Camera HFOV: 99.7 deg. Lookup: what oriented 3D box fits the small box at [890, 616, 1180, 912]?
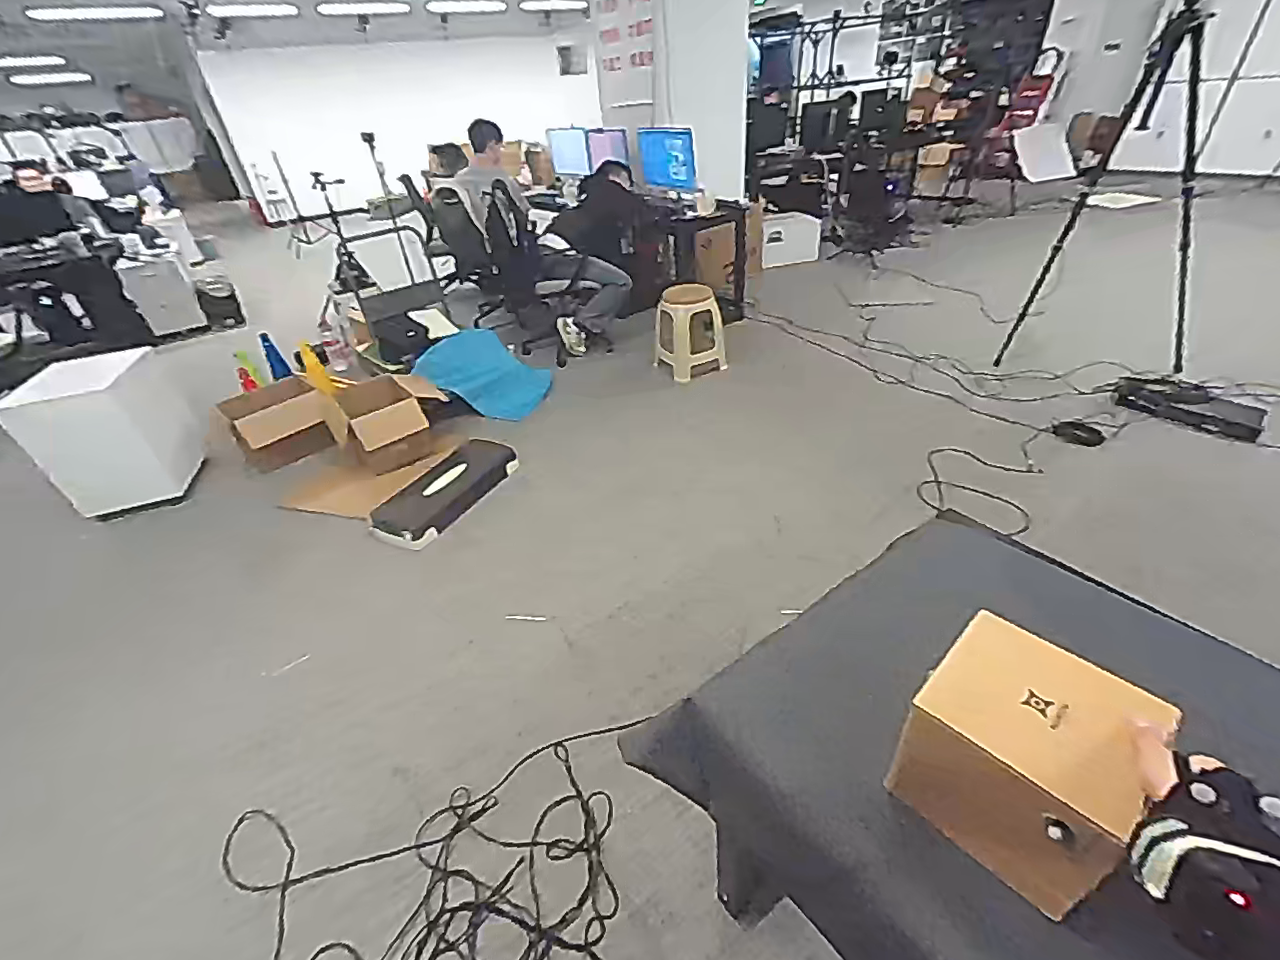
[{"bbox_3d":[0.388,0.284,0.557,0.168,0.176,0.179,-30,43,-31],"label":"small box"}]
